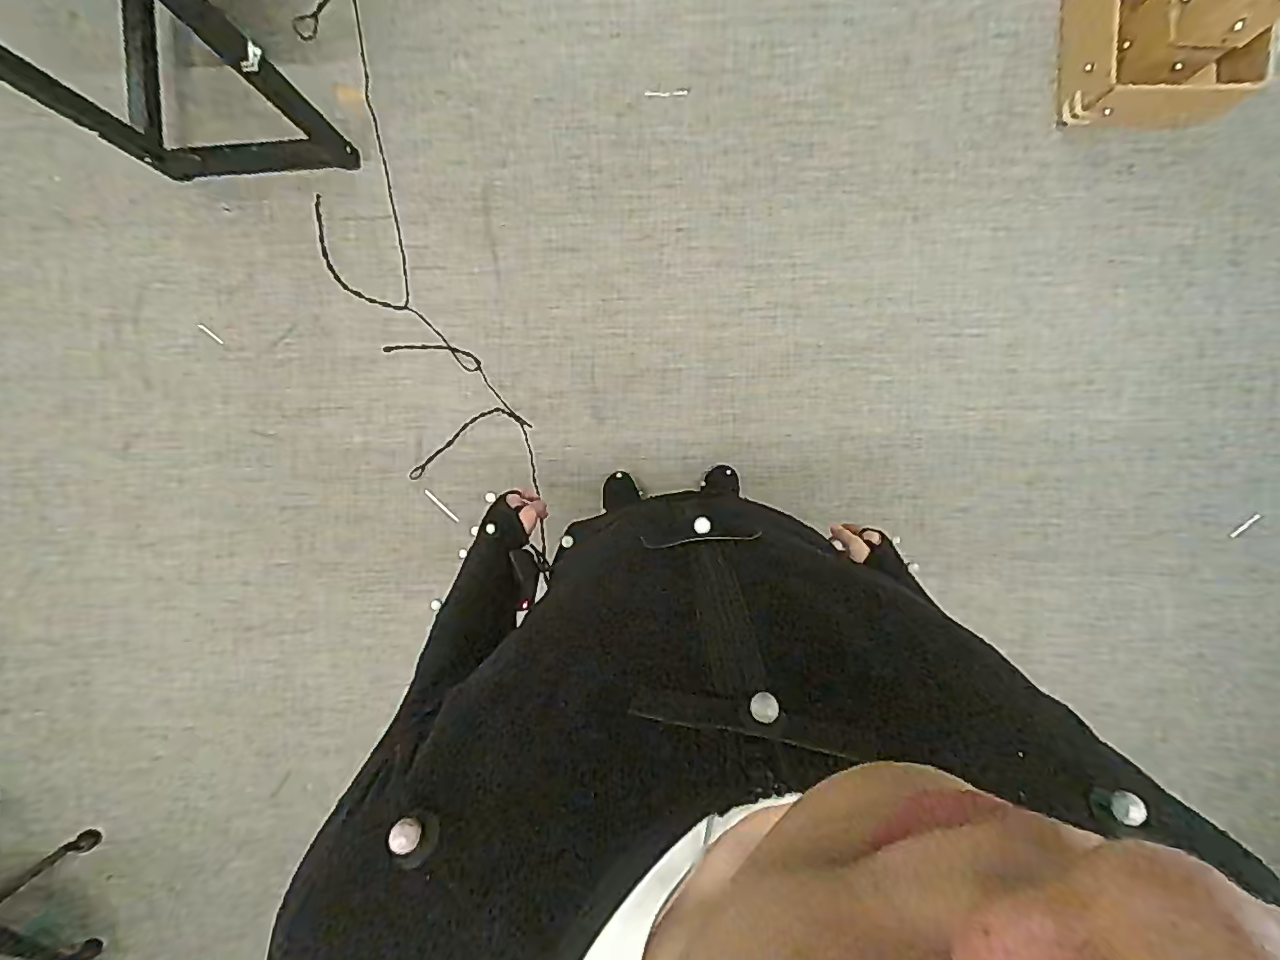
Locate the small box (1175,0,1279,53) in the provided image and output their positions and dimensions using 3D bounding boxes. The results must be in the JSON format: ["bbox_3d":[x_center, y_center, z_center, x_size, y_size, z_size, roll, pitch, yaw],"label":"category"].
[{"bbox_3d":[1.408,-1.140,1.257,0.168,0.176,0.179,4,92,3],"label":"small box"}]
